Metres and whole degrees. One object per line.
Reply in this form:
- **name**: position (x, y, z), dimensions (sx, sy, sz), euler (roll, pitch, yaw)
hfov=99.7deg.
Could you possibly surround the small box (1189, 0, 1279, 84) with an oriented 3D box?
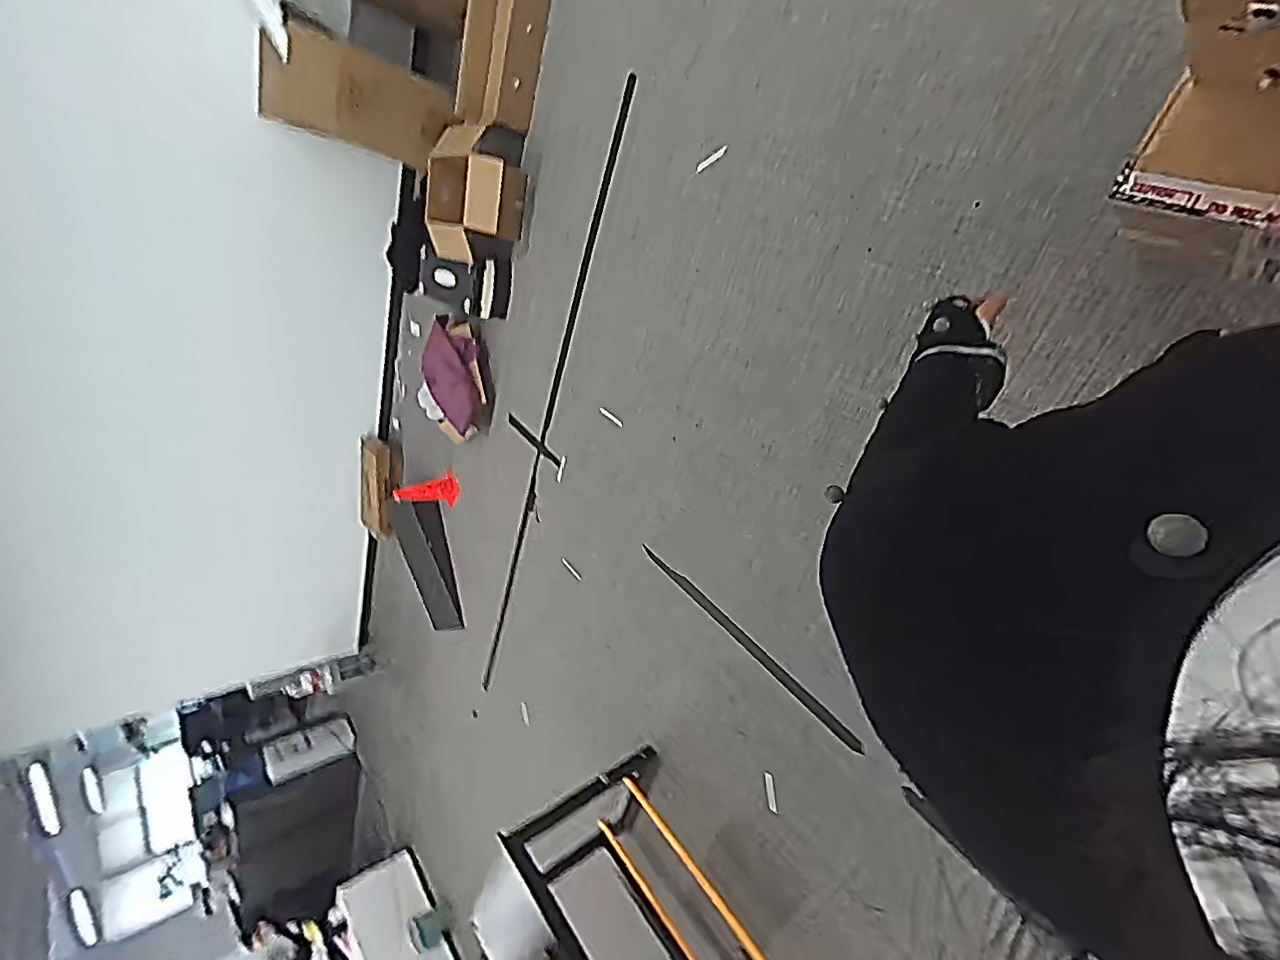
- **small box**: position (0.727, -0.541, 0.556), dimensions (0.168, 0.176, 0.179), euler (41, 125, 36)
